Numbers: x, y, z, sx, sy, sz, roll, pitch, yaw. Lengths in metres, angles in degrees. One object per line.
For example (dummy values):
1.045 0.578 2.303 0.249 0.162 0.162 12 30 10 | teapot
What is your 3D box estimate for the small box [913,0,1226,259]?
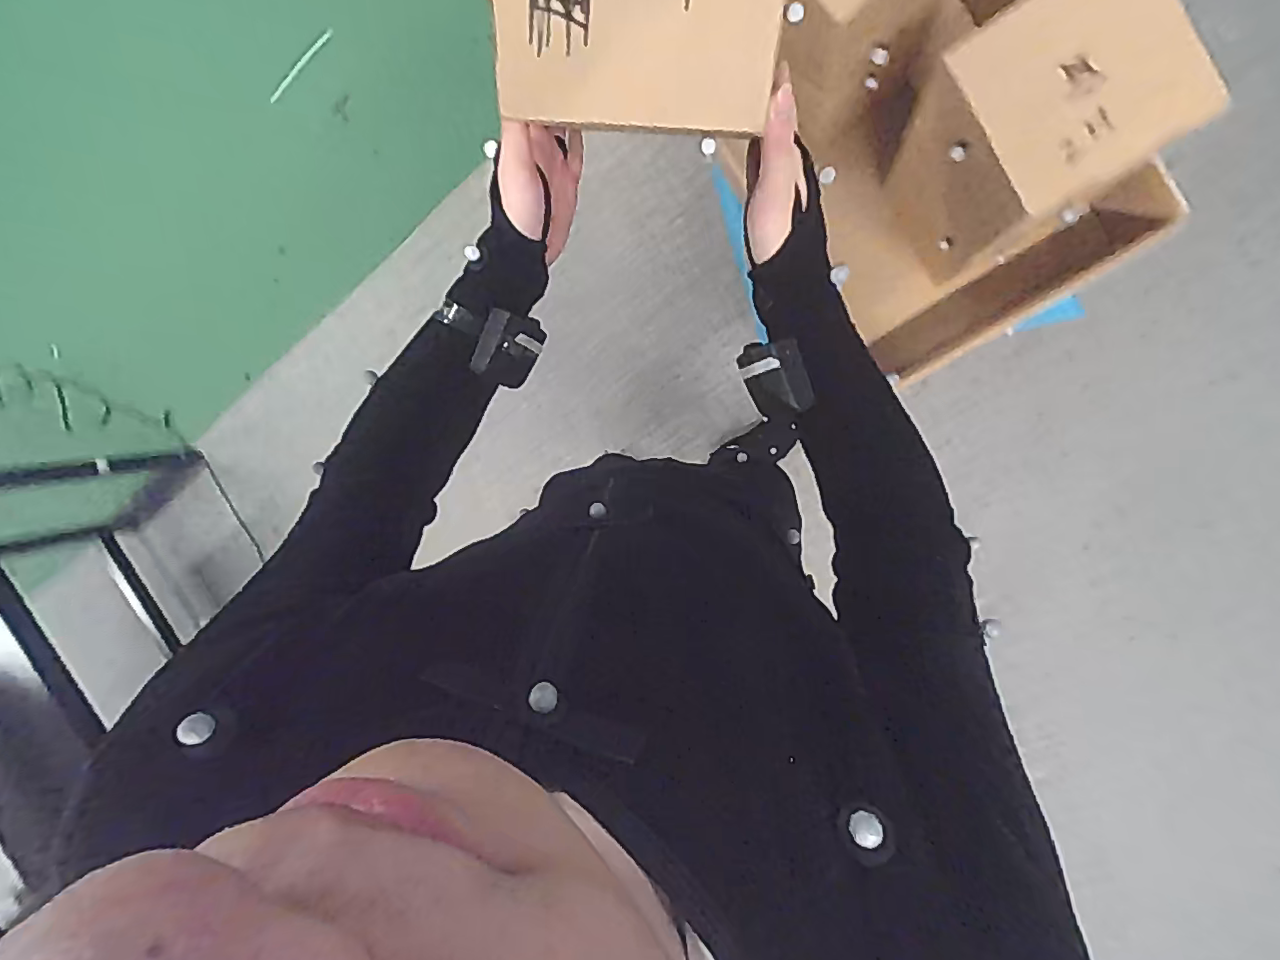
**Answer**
0.414 -0.364 0.562 0.168 0.176 0.179 -28 91 17 | small box
